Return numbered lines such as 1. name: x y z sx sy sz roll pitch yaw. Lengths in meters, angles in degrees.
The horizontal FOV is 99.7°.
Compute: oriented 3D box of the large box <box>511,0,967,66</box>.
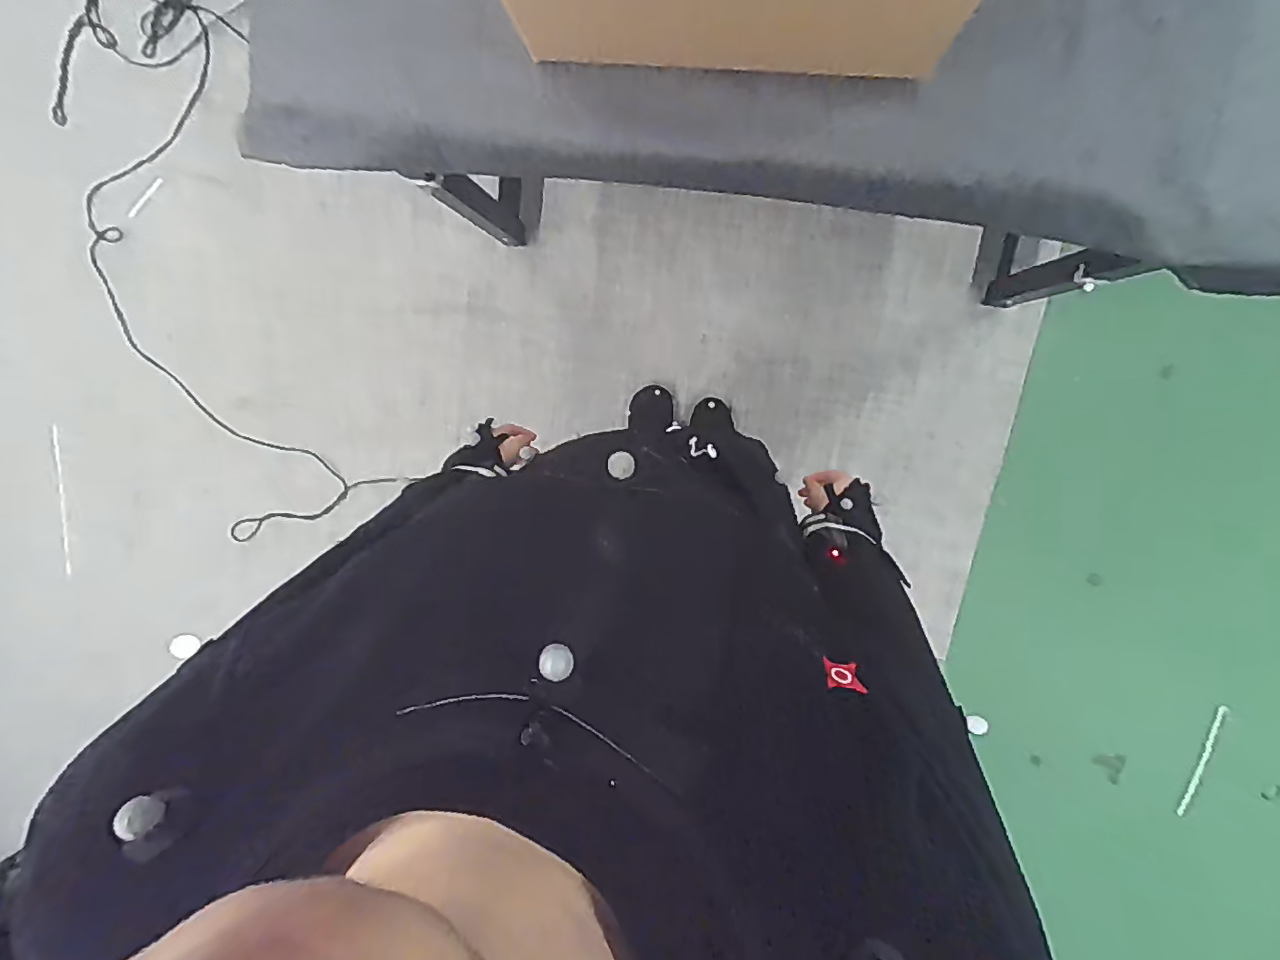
1. large box: 0.082 -0.548 0.380 0.408 0.320 0.320 6 101 4
